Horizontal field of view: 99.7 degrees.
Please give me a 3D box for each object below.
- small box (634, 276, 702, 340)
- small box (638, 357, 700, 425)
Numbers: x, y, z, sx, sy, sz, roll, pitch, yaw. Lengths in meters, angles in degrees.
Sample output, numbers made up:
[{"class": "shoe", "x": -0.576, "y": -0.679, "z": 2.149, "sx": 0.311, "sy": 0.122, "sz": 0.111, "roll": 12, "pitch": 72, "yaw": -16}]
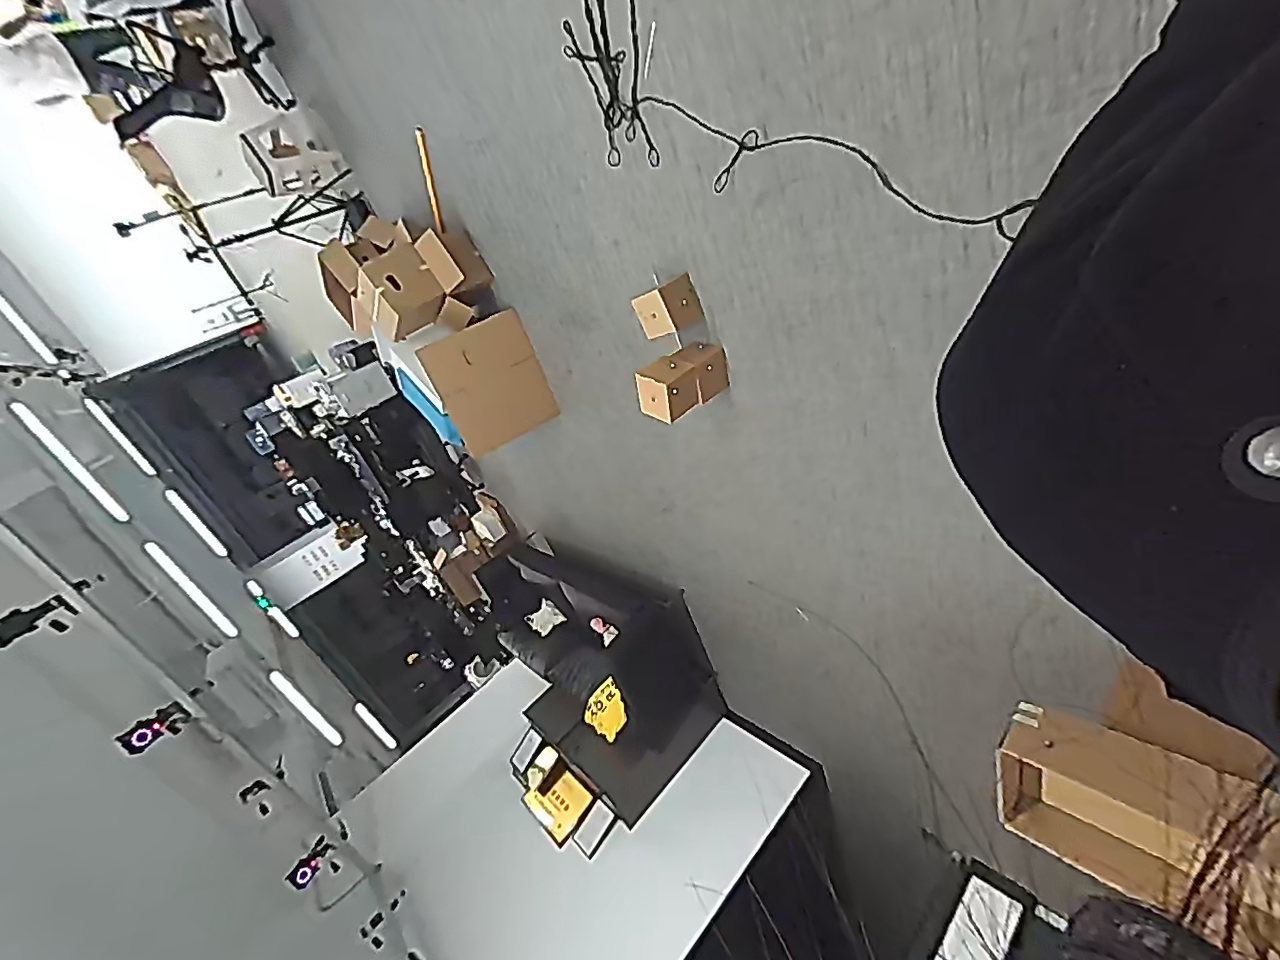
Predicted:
[{"class": "small box", "x": 0.115, "y": -0.661, "z": 2.075, "sx": 0.179, "sy": 0.176, "sz": 0.168, "roll": 3, "pitch": 125, "yaw": 55}, {"class": "small box", "x": 0.117, "y": -0.348, "z": 2.093, "sx": 0.168, "sy": 0.176, "sz": 0.179, "roll": 29, "pitch": 143, "yaw": 38}]
